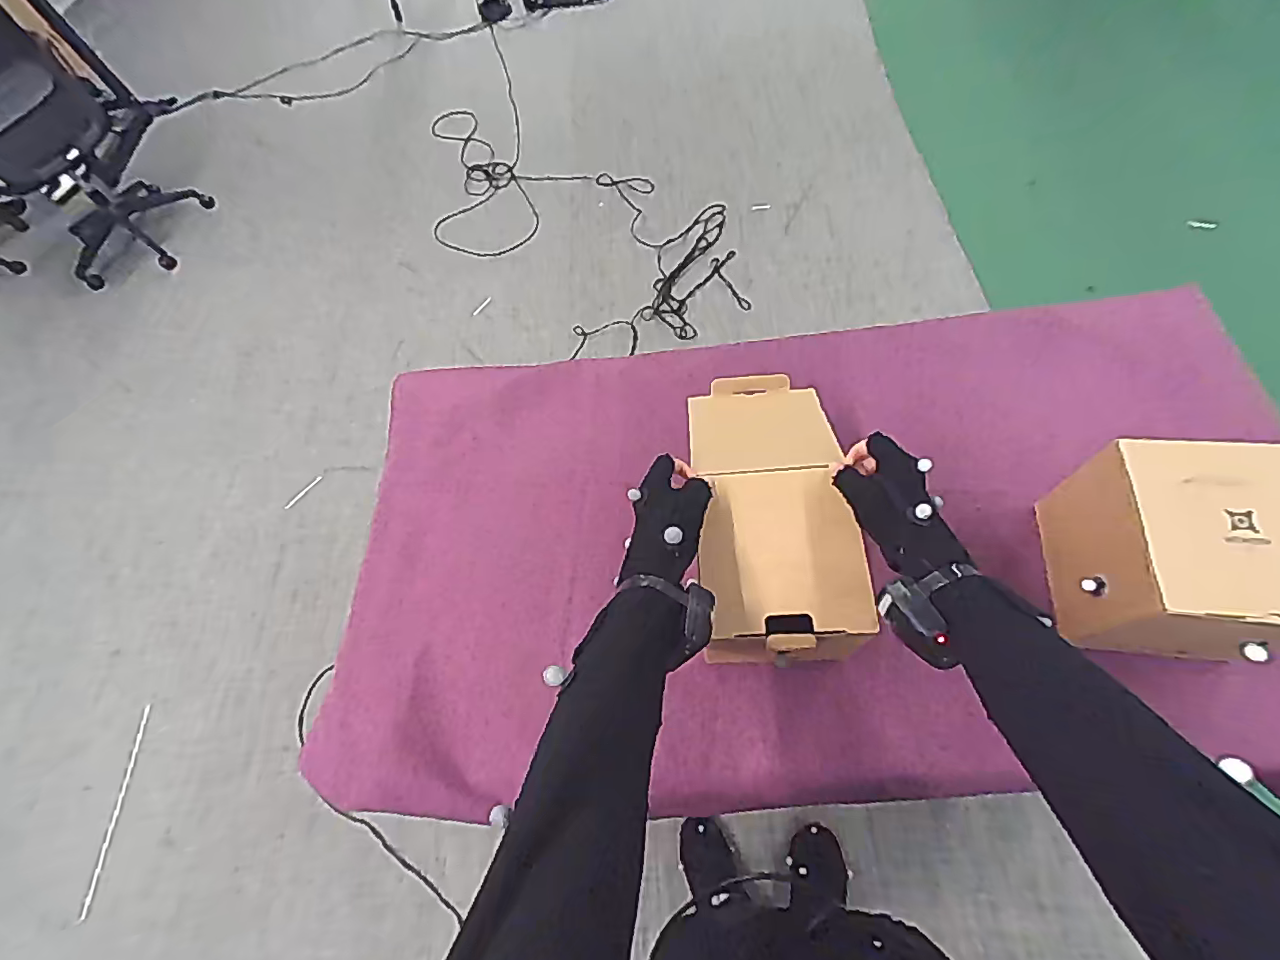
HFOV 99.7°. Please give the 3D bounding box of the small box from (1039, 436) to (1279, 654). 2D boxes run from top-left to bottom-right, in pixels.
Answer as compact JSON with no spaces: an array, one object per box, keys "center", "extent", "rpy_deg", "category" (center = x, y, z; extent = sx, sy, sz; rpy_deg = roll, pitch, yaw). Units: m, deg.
[{"center":[0.551,0.073,0.554],"extent":[0.168,0.176,0.179],"rpy_deg":[4,65,11],"category":"small box"}]
